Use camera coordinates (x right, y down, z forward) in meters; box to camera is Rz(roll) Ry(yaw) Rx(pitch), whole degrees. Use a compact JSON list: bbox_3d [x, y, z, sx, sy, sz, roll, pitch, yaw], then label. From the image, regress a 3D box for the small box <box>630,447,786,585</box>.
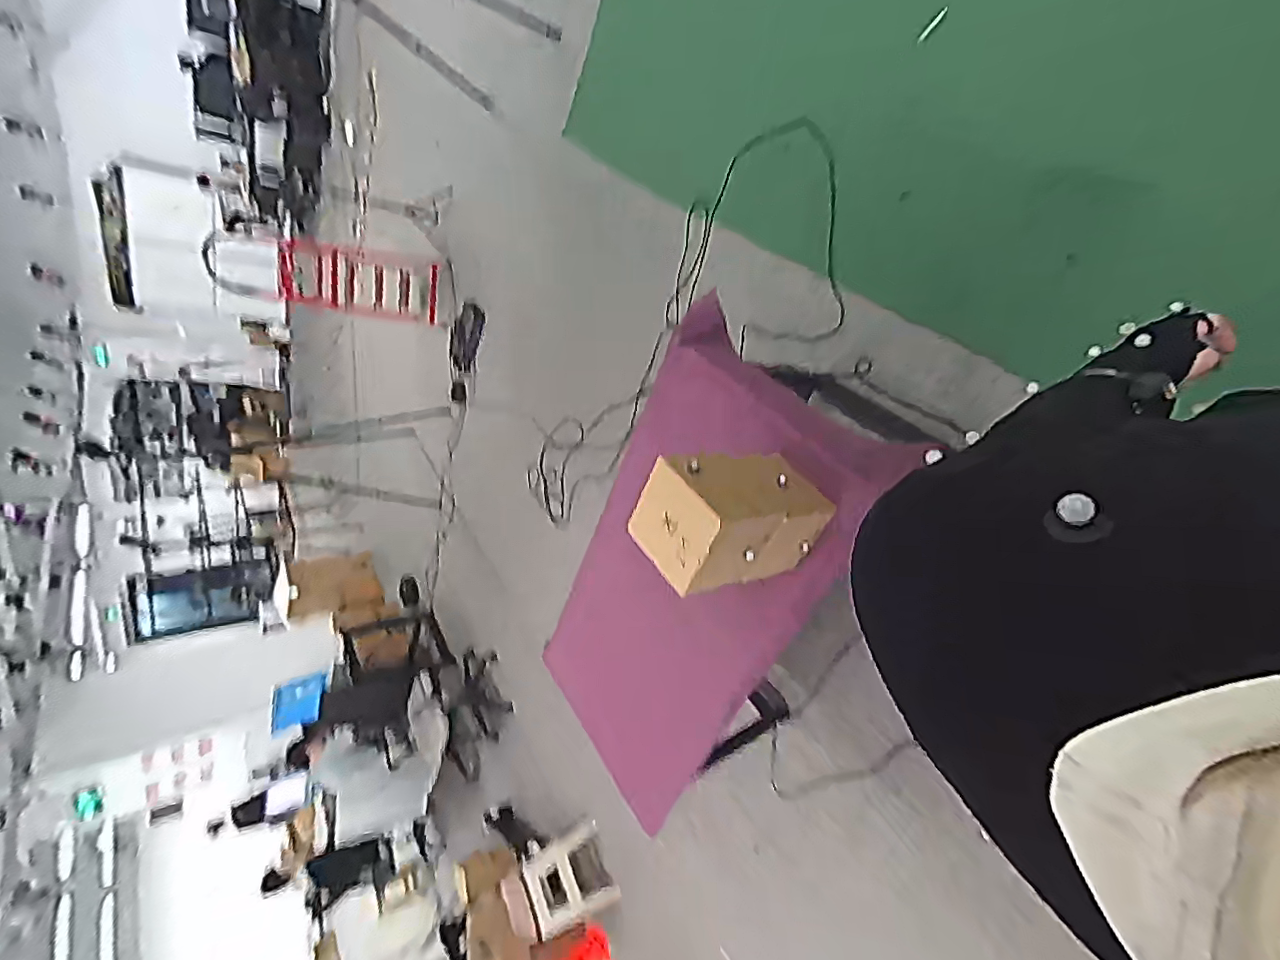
[{"bbox_3d":[0.116,0.057,0.951,0.179,0.176,0.168,49,129,35],"label":"small box"}]
